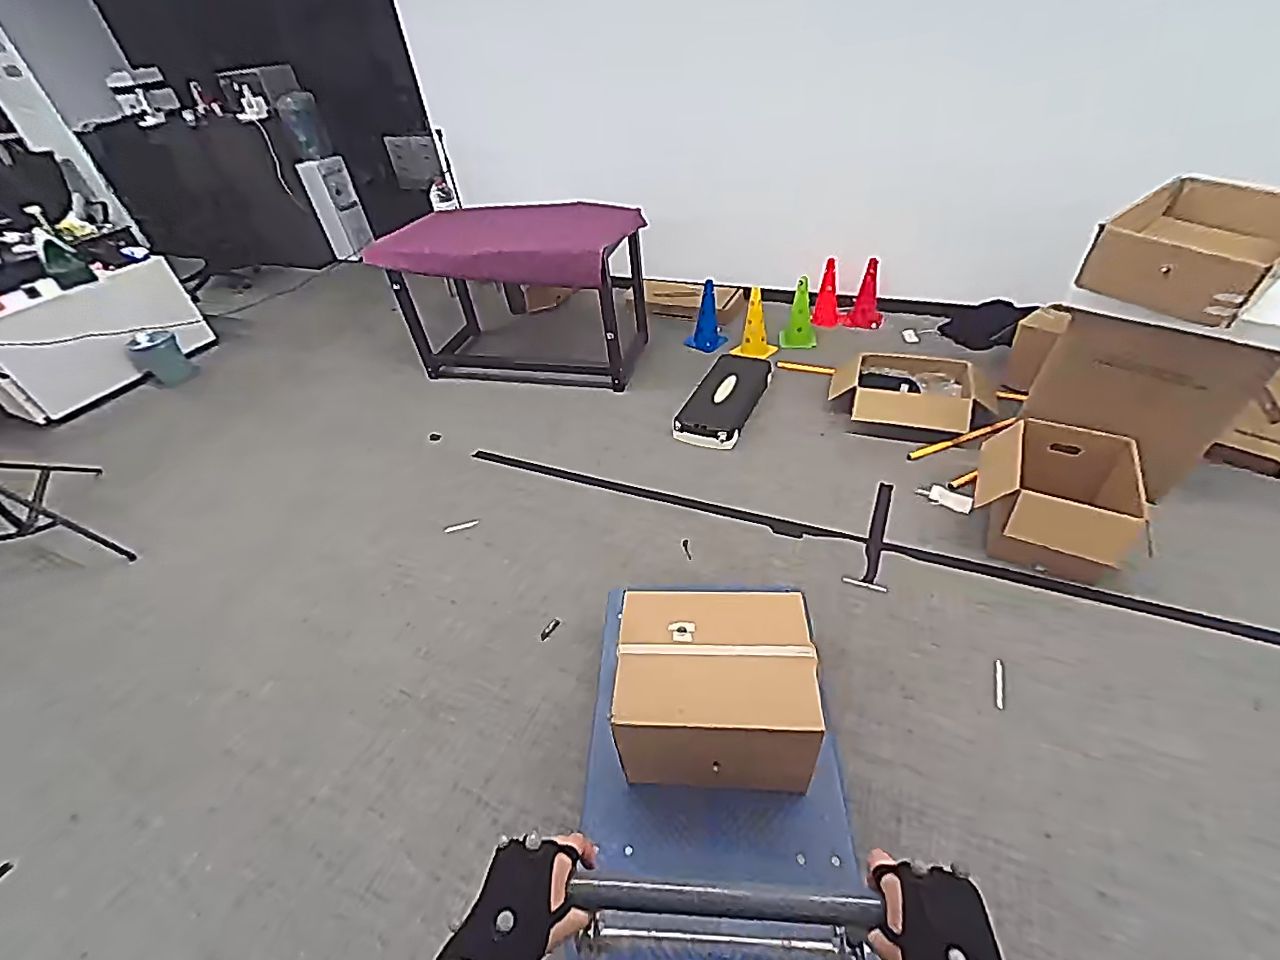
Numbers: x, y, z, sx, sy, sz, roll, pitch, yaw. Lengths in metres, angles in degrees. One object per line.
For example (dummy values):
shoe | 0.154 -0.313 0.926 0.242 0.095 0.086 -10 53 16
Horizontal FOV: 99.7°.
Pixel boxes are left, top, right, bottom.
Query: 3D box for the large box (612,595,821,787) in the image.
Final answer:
large box | 0.168 0.482 1.237 0.408 0.320 0.320 -2 41 7
